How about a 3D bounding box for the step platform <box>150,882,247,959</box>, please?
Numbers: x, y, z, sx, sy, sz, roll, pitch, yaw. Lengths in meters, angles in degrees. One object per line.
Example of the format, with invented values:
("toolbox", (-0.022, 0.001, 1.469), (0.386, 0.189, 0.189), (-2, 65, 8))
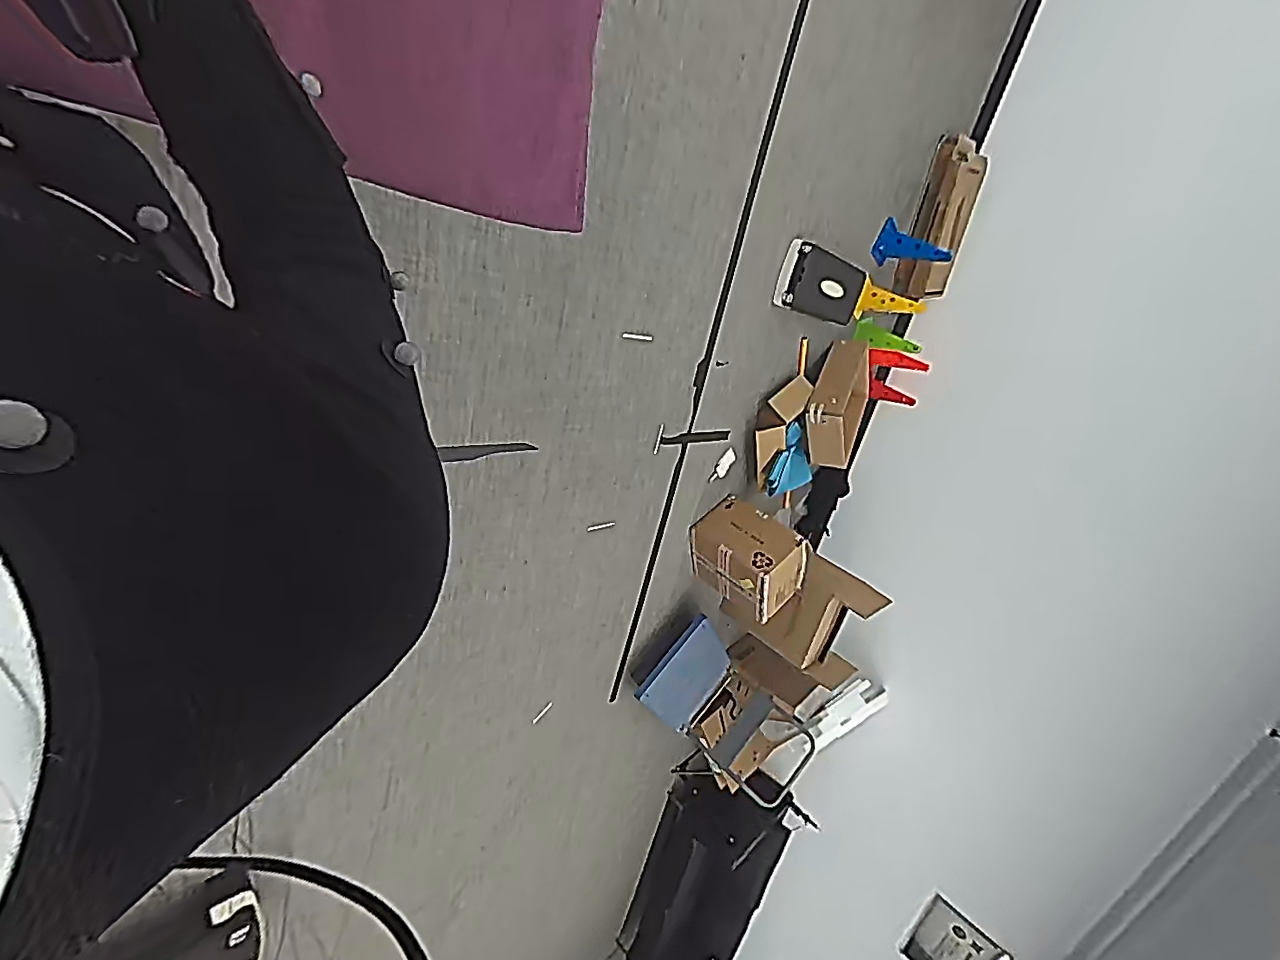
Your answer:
("step platform", (-1.486, 1.448, 1.462), (0.684, 0.204, 0.286), (-10, 122, -47))
